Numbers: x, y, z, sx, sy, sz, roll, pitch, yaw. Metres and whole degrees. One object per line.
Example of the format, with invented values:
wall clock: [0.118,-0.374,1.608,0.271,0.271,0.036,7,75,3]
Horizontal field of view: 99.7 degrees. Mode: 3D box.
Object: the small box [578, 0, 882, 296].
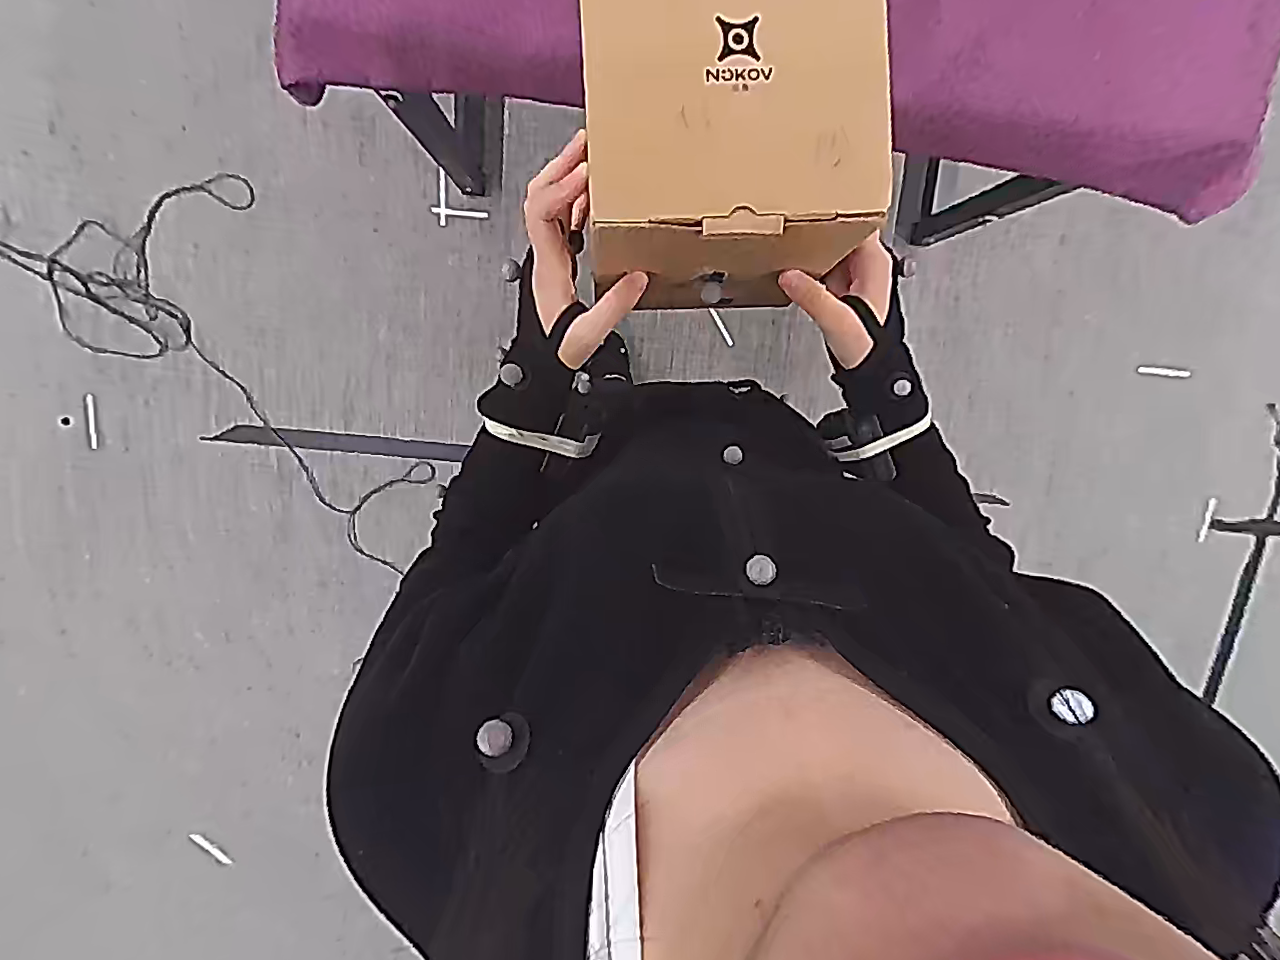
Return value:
small box: [0.046,-0.232,0.371,0.168,0.176,0.179,-2,93,-4]
